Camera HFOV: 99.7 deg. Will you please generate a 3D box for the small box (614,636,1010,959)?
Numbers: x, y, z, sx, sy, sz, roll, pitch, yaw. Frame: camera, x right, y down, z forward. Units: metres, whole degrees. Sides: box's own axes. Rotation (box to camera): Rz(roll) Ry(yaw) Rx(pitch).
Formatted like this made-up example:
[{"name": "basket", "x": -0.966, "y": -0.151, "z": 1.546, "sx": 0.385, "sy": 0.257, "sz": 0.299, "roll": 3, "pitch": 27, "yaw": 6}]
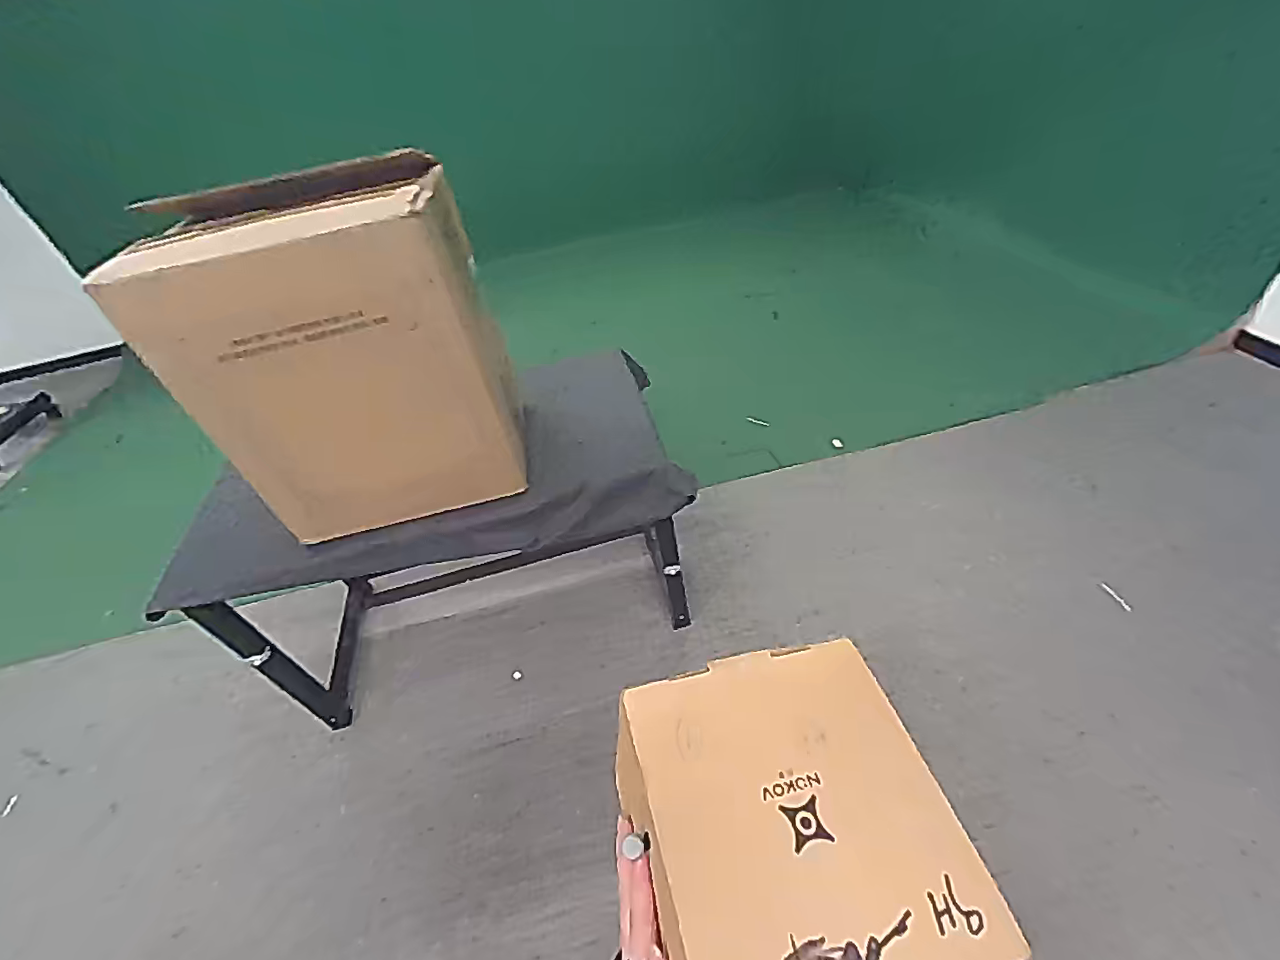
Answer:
[{"name": "small box", "x": 0.078, "y": 0.237, "z": 0.360, "sx": 0.168, "sy": 0.176, "sz": 0.179, "roll": -10, "pitch": 46, "yaw": -12}]
